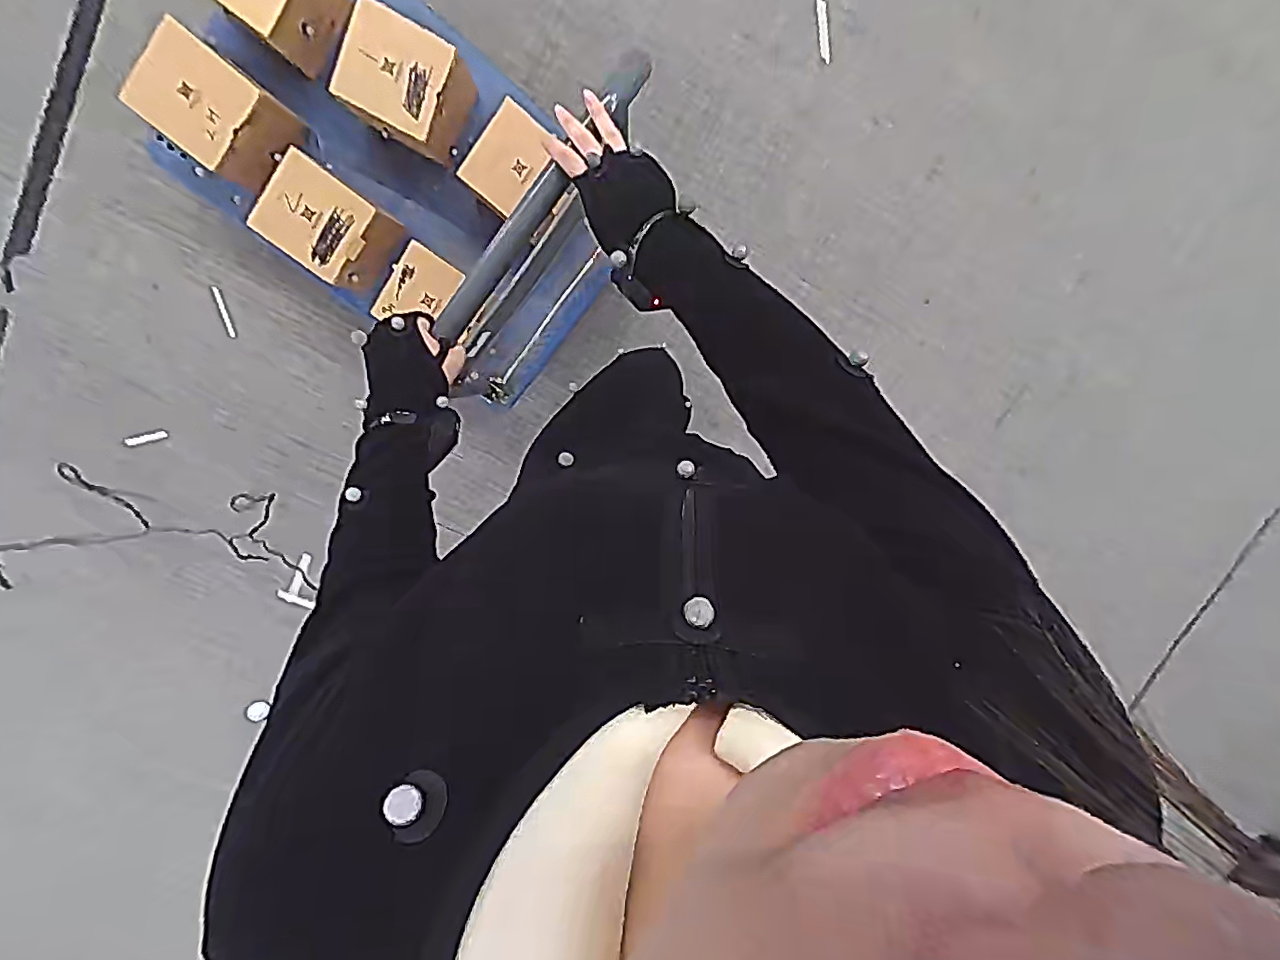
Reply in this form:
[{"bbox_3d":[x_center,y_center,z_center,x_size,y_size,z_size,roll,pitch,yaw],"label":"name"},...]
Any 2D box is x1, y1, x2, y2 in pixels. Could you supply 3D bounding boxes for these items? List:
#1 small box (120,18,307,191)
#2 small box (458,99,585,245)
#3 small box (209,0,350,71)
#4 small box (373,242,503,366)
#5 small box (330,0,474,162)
[{"bbox_3d":[-0.771,-0.673,0.998,0.179,0.176,0.168,38,99,-14],"label":"small box"},{"bbox_3d":[-0.223,-0.591,1.071,0.179,0.176,0.168,37,98,-12],"label":"small box"},{"bbox_3d":[-0.657,-0.874,0.956,0.179,0.176,0.168,34,100,-12],"label":"small box"},{"bbox_3d":[-0.403,-0.357,1.115,0.179,0.176,0.168,33,99,-13],"label":"small box"},{"bbox_3d":[-0.433,-0.730,1.013,0.179,0.176,0.168,25,102,-11],"label":"small box"}]
